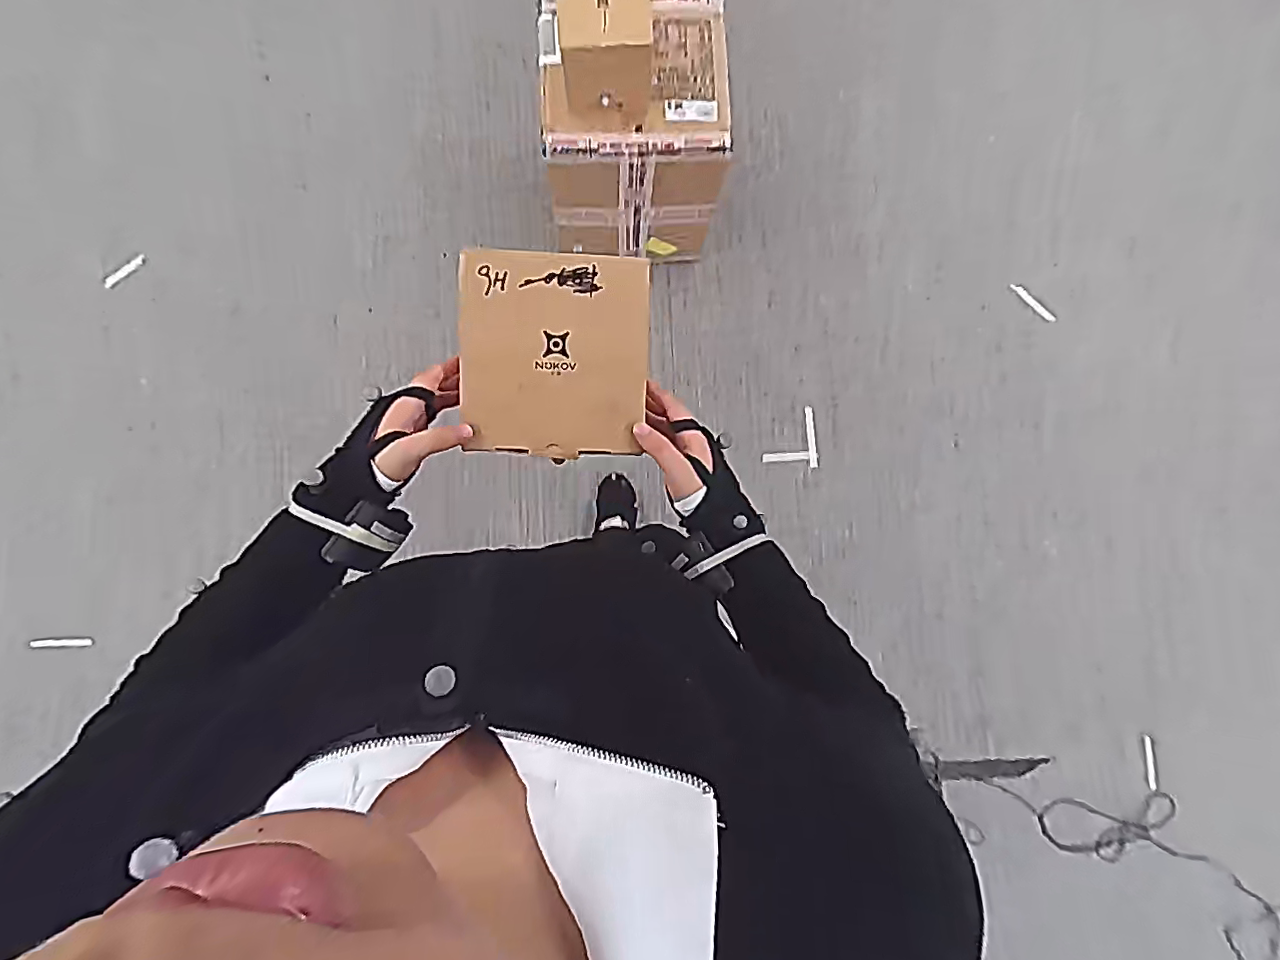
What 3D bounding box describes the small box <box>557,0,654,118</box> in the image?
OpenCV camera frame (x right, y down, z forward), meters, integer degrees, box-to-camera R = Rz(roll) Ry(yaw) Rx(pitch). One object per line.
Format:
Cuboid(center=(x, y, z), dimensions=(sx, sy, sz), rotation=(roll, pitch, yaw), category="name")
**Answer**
Cuboid(center=(-0.065, -0.816, 1.006), dimensions=(0.168, 0.176, 0.179), rotation=(-3, 89, -2), category="small box")
